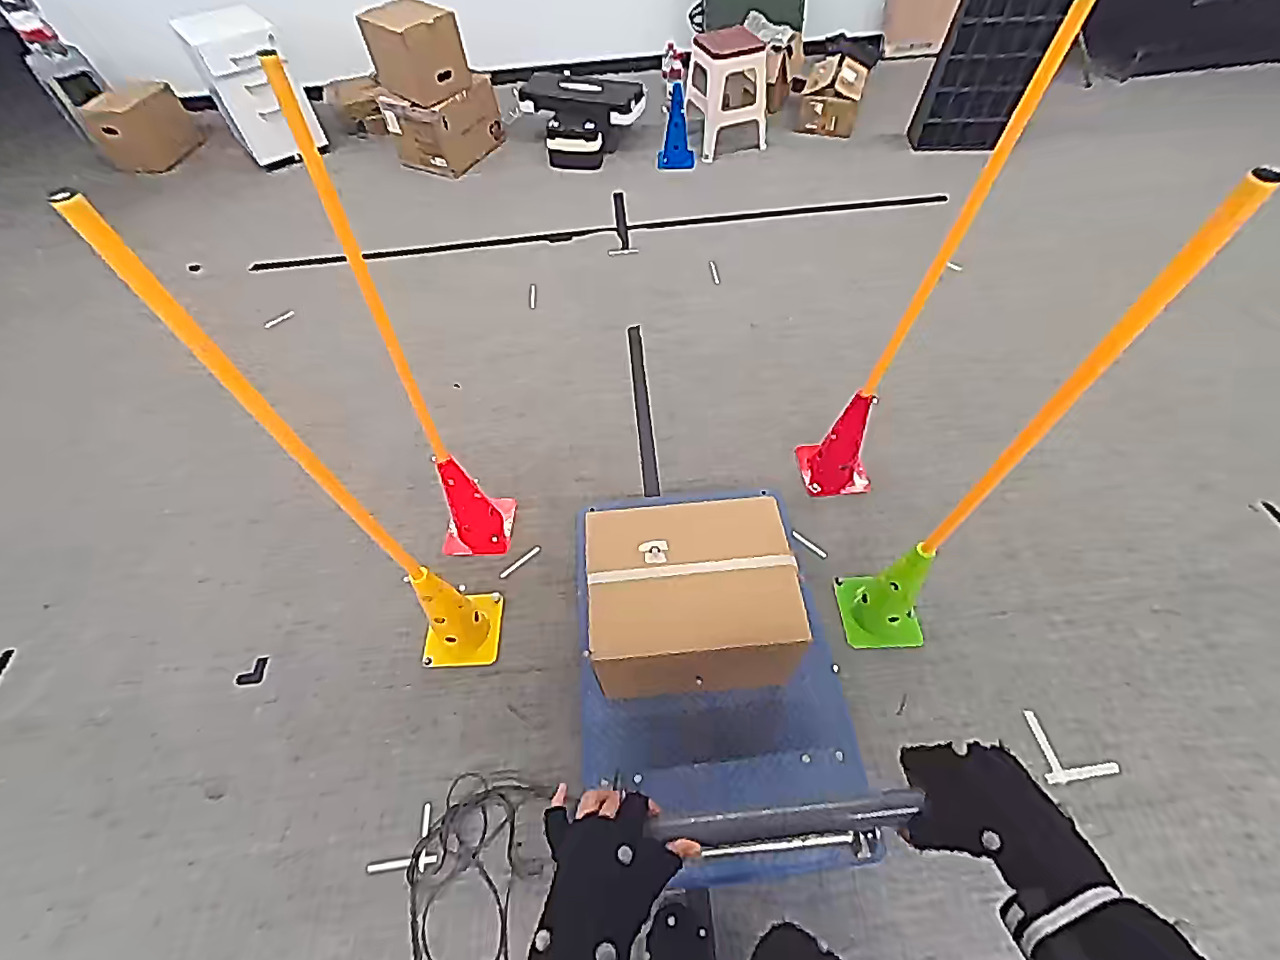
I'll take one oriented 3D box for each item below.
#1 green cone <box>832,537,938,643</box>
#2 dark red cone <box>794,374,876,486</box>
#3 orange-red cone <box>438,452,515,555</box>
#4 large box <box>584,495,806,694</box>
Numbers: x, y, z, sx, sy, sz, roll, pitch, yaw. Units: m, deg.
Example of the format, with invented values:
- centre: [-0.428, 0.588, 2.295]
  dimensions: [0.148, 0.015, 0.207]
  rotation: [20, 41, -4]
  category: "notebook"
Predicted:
- centre: [0.639, 0.249, 1.341]
  dimensions: [0.202, 0.368, 0.200]
  rotation: [-2, 55, 0]
  category: "green cone"
- centre: [0.612, -0.158, 1.603]
  dimensions: [0.201, 0.394, 0.202]
  rotation: [-5, 56, -3]
  category: "dark red cone"
- centre: [-0.503, 0.040, 1.545]
  dimensions: [0.198, 0.360, 0.199]
  rotation: [1, 54, 2]
  category: "orange-red cone"
- centre: [0.103, 0.261, 1.185]
  dimensions: [0.408, 0.320, 0.320]
  rotation: [-6, 55, 0]
  category: "large box"
